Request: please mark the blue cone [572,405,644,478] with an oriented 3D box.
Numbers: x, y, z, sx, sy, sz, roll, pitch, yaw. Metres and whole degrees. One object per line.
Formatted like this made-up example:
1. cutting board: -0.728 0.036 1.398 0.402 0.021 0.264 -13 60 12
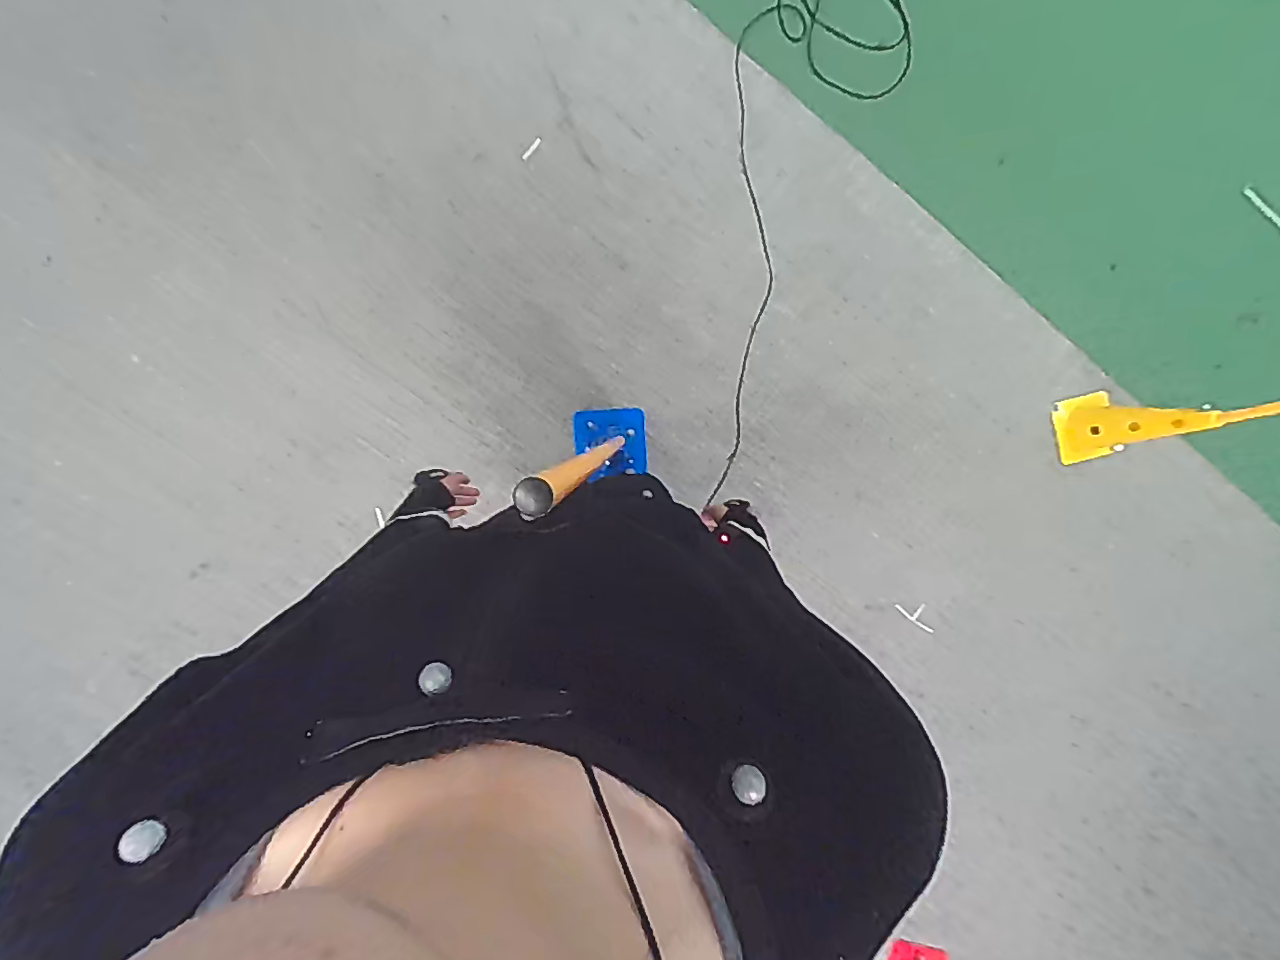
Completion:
1. blue cone: -0.069 -0.096 1.321 0.193 0.380 0.192 -4 93 -6
